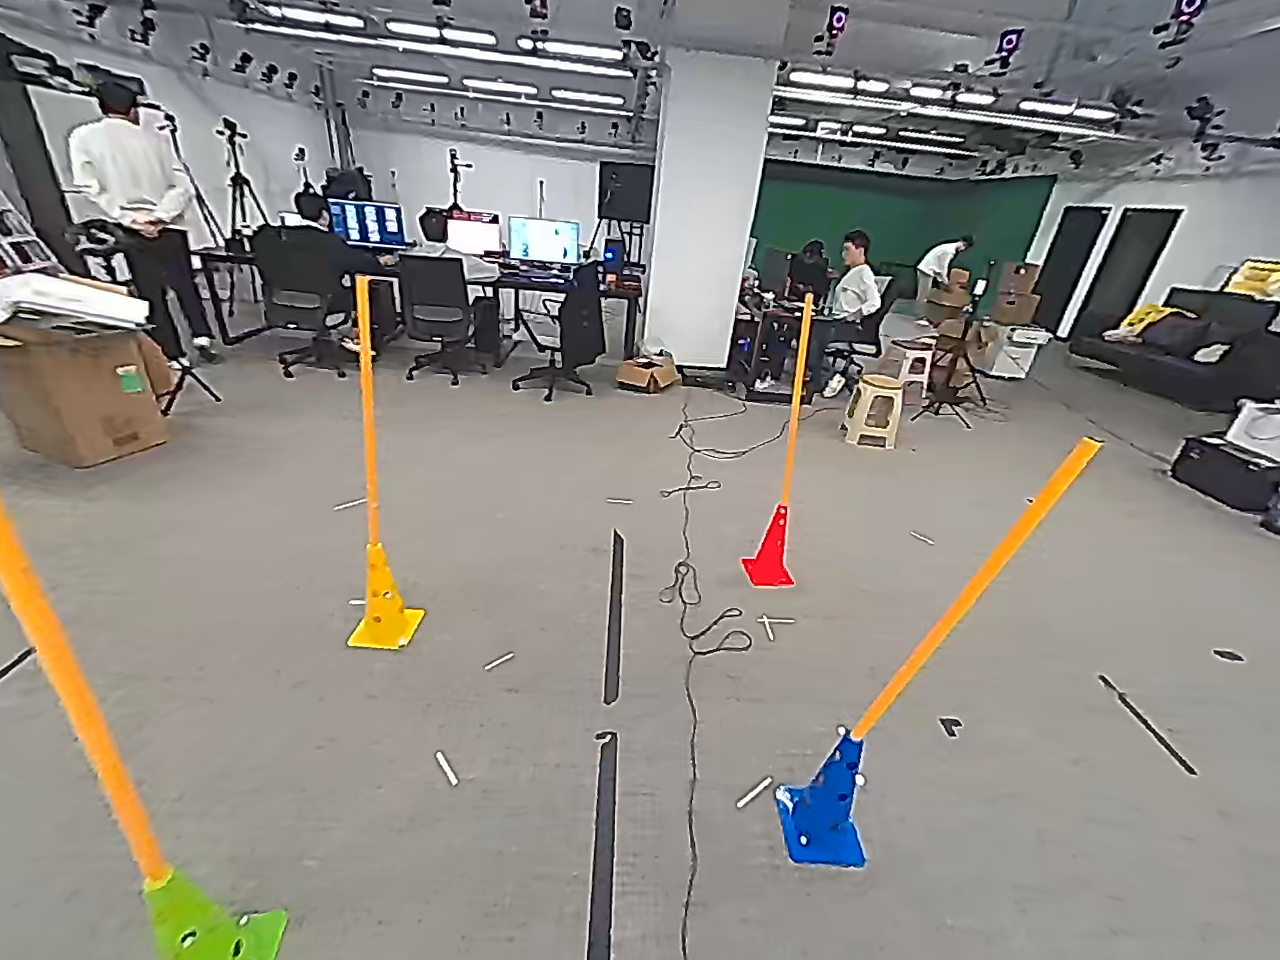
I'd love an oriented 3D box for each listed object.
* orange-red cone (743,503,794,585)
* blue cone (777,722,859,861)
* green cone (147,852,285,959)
[{"bbox_3d":[0.589,0.262,2.355,0.199,0.360,0.198,1,27,-7],"label":"orange-red cone"},{"bbox_3d":[0.488,0.767,1.371,0.193,0.380,0.192,6,26,-1],"label":"blue cone"},{"bbox_3d":[-0.820,0.814,0.986,0.200,0.368,0.202,0,26,-13],"label":"green cone"}]
